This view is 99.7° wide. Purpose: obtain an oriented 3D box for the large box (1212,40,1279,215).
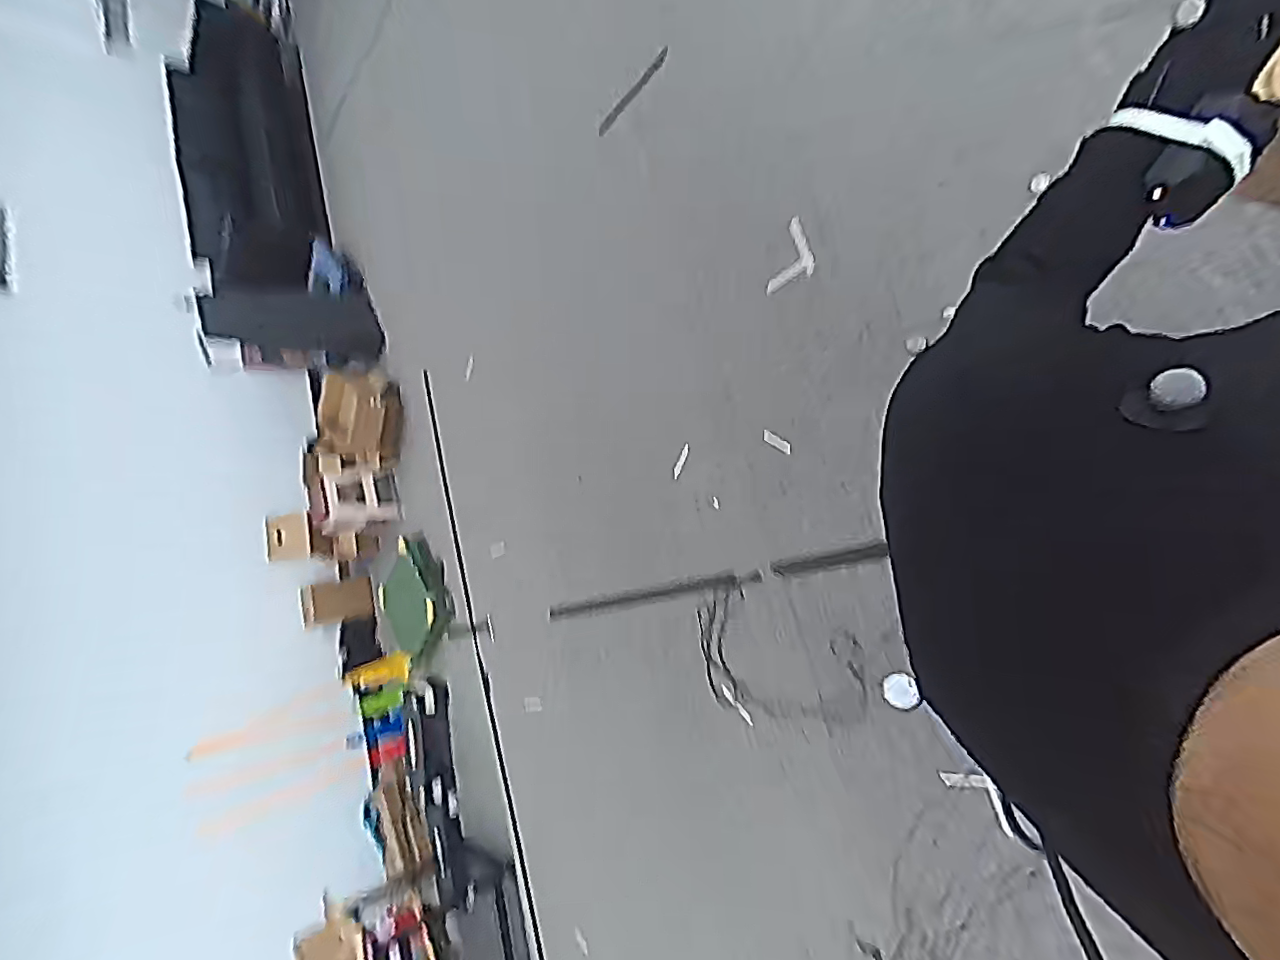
[{"bbox_3d":[0.670,-0.291,0.288,0.408,0.320,0.320,40,126,31],"label":"large box"}]
